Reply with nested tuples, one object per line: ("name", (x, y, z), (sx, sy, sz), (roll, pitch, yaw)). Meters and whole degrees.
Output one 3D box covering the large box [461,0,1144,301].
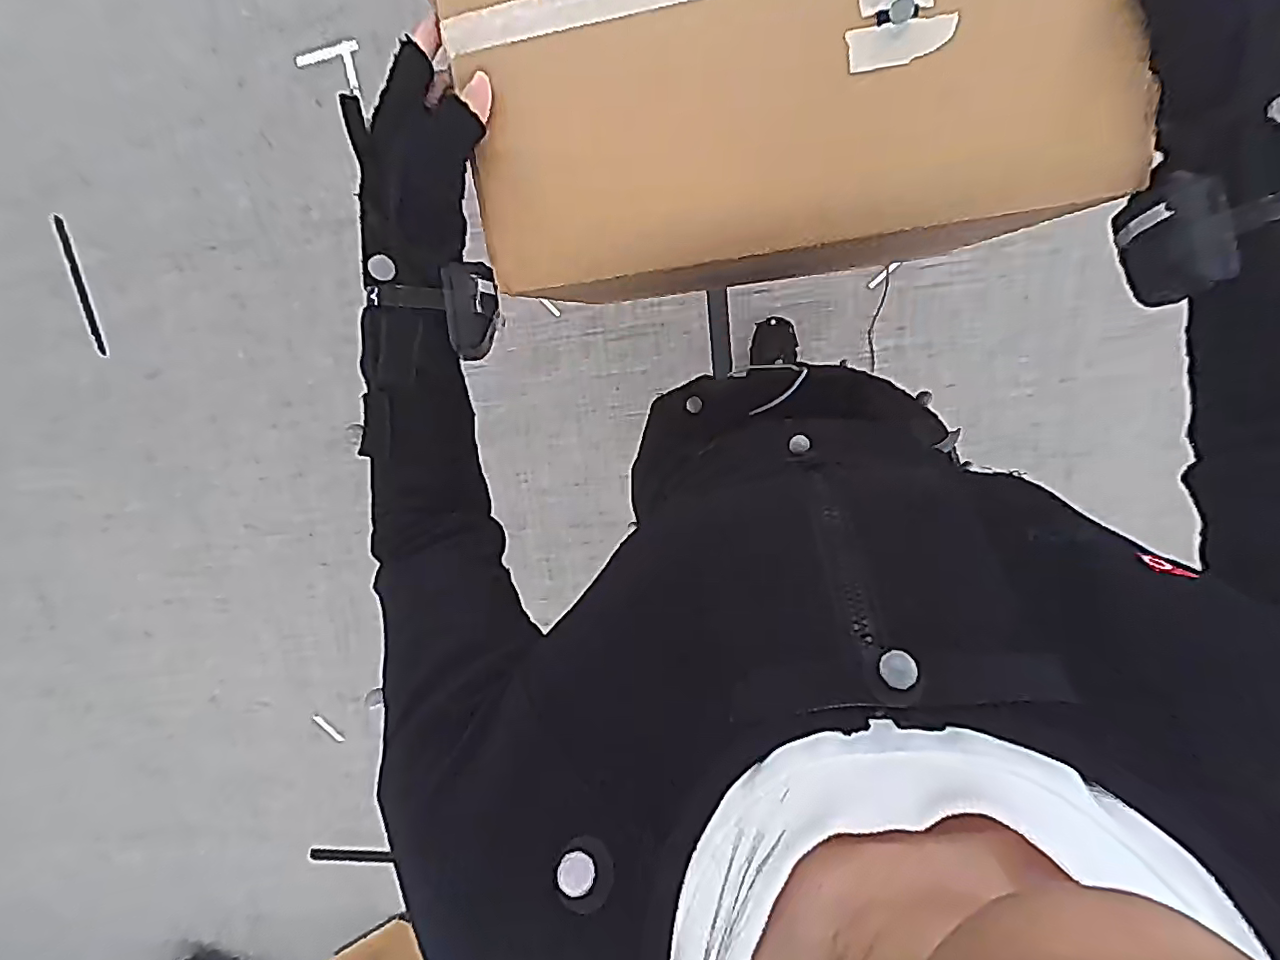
("large box", (0.098, -0.350, 0.463), (0.408, 0.320, 0.320), (-6, 106, 9))
